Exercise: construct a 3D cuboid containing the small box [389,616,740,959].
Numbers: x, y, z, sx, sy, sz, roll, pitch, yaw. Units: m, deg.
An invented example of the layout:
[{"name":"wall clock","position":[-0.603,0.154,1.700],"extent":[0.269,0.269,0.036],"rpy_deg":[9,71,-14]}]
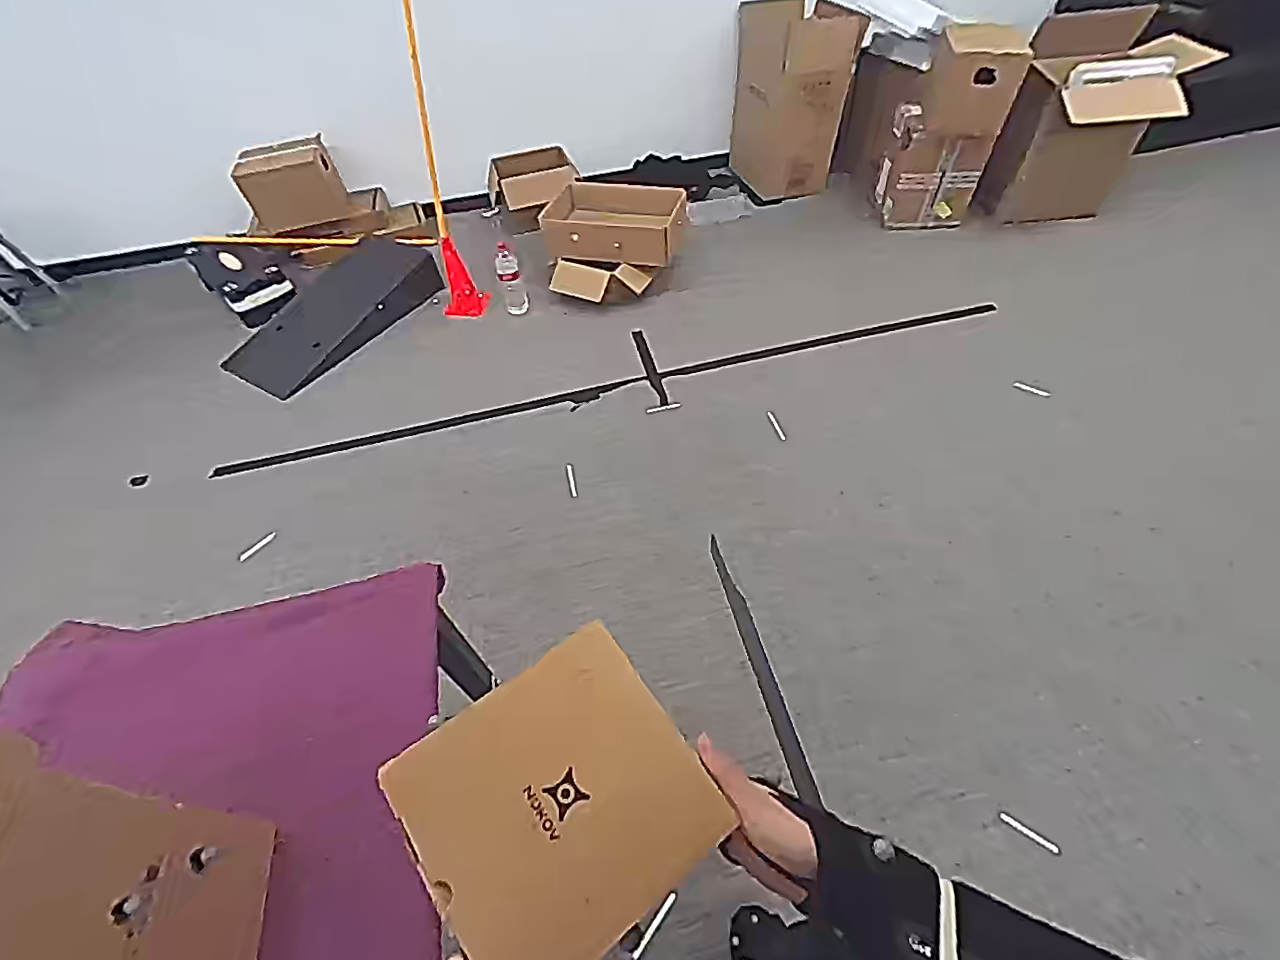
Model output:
[{"name":"small box","position":[-0.055,0.237,0.422],"extent":[0.179,0.176,0.168],"rpy_deg":[-32,69,-18]}]
